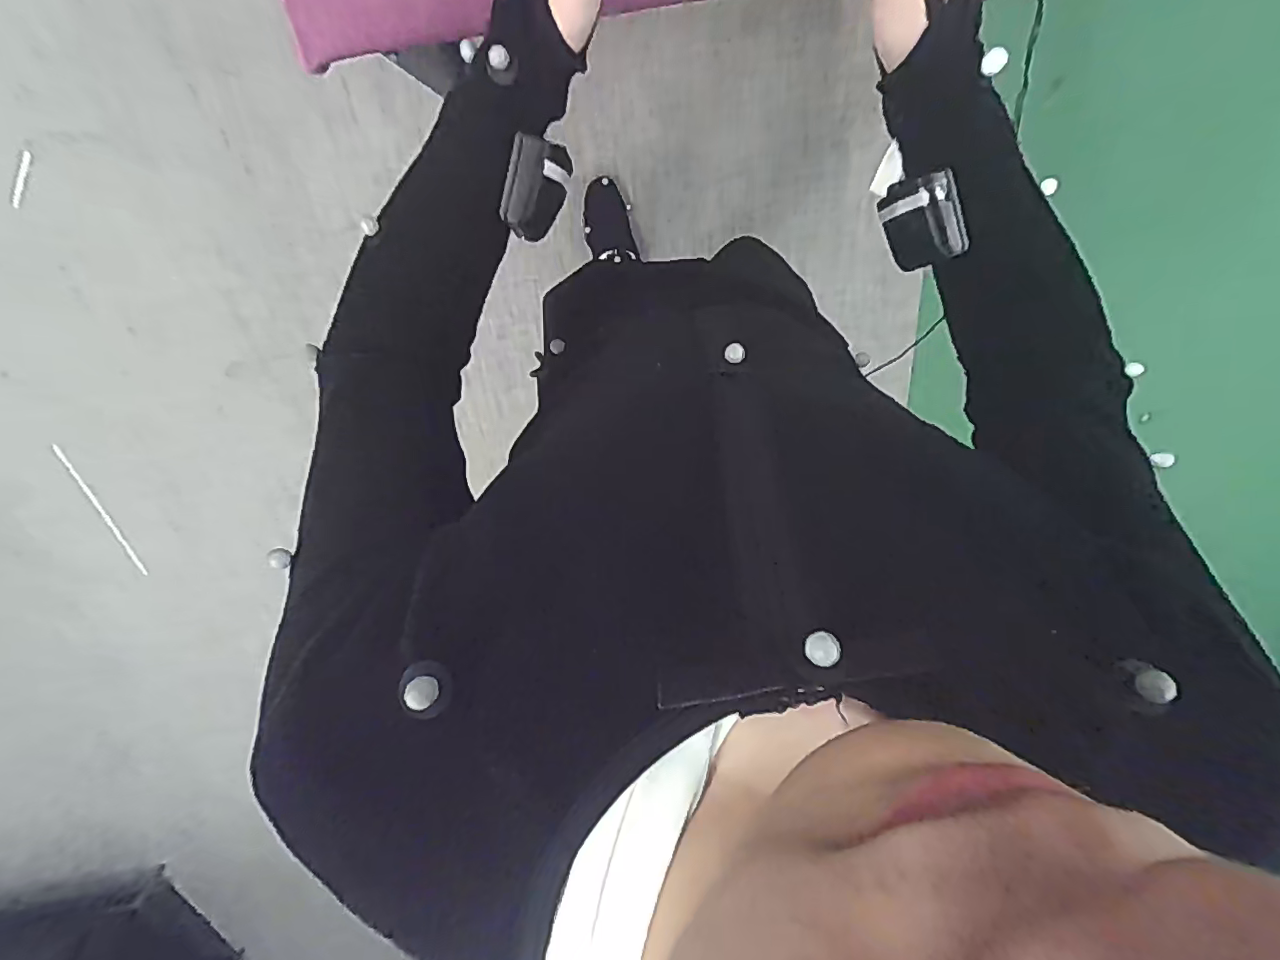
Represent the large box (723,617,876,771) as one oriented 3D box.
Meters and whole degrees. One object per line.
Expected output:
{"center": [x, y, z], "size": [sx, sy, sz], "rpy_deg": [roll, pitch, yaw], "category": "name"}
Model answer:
{"center": [0.590, 0.807, 2.055], "size": [0.408, 0.320, 0.320], "rpy_deg": [-38, 115, 12], "category": "large box"}
